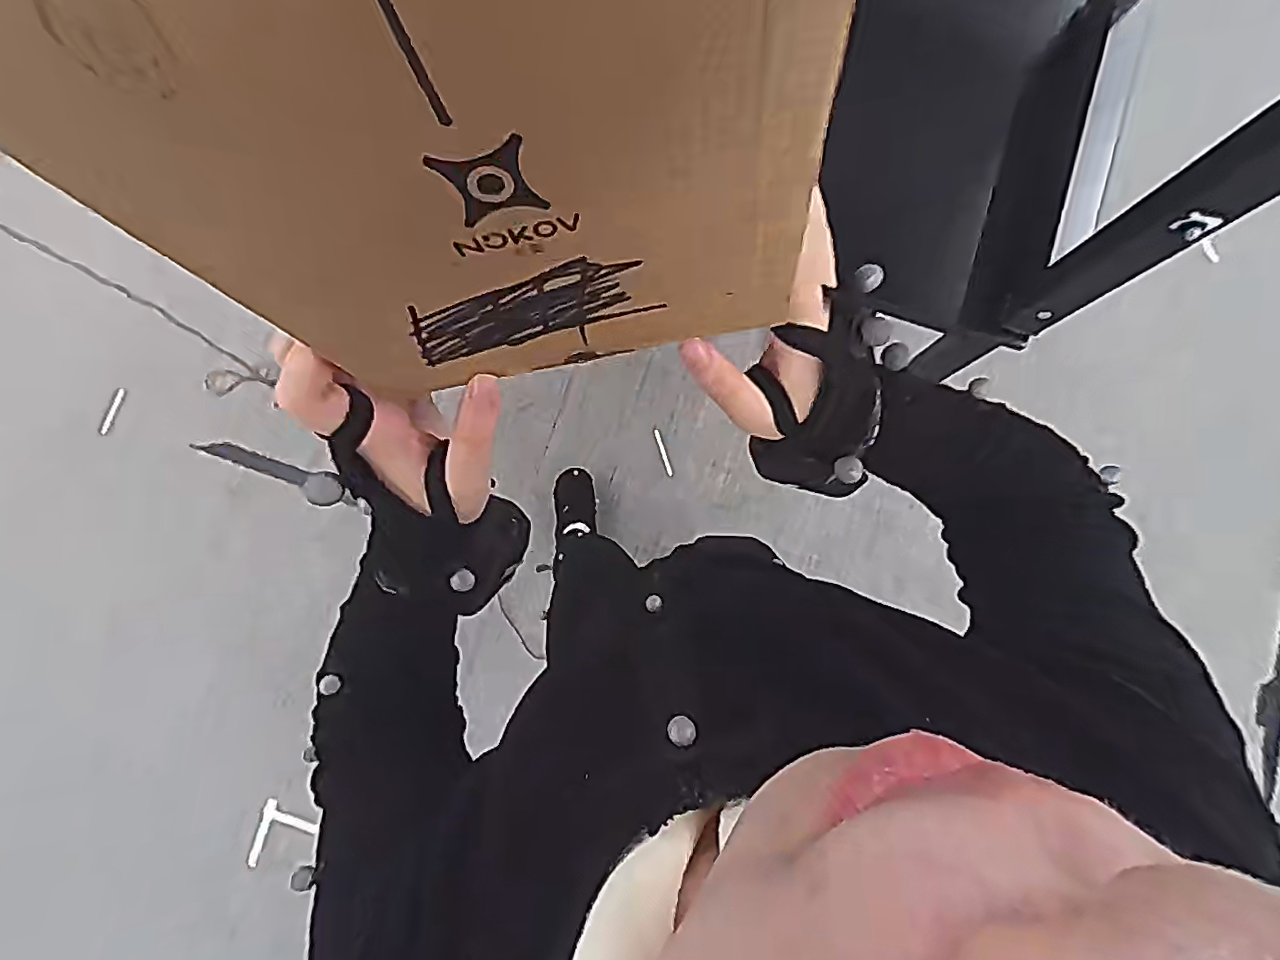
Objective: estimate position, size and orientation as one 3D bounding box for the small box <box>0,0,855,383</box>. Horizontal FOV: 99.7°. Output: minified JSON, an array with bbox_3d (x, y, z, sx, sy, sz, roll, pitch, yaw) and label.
[{"bbox_3d":[-0.049,-0.148,0.145,0.168,0.179,0.176,-10,75,6],"label":"small box"}]
